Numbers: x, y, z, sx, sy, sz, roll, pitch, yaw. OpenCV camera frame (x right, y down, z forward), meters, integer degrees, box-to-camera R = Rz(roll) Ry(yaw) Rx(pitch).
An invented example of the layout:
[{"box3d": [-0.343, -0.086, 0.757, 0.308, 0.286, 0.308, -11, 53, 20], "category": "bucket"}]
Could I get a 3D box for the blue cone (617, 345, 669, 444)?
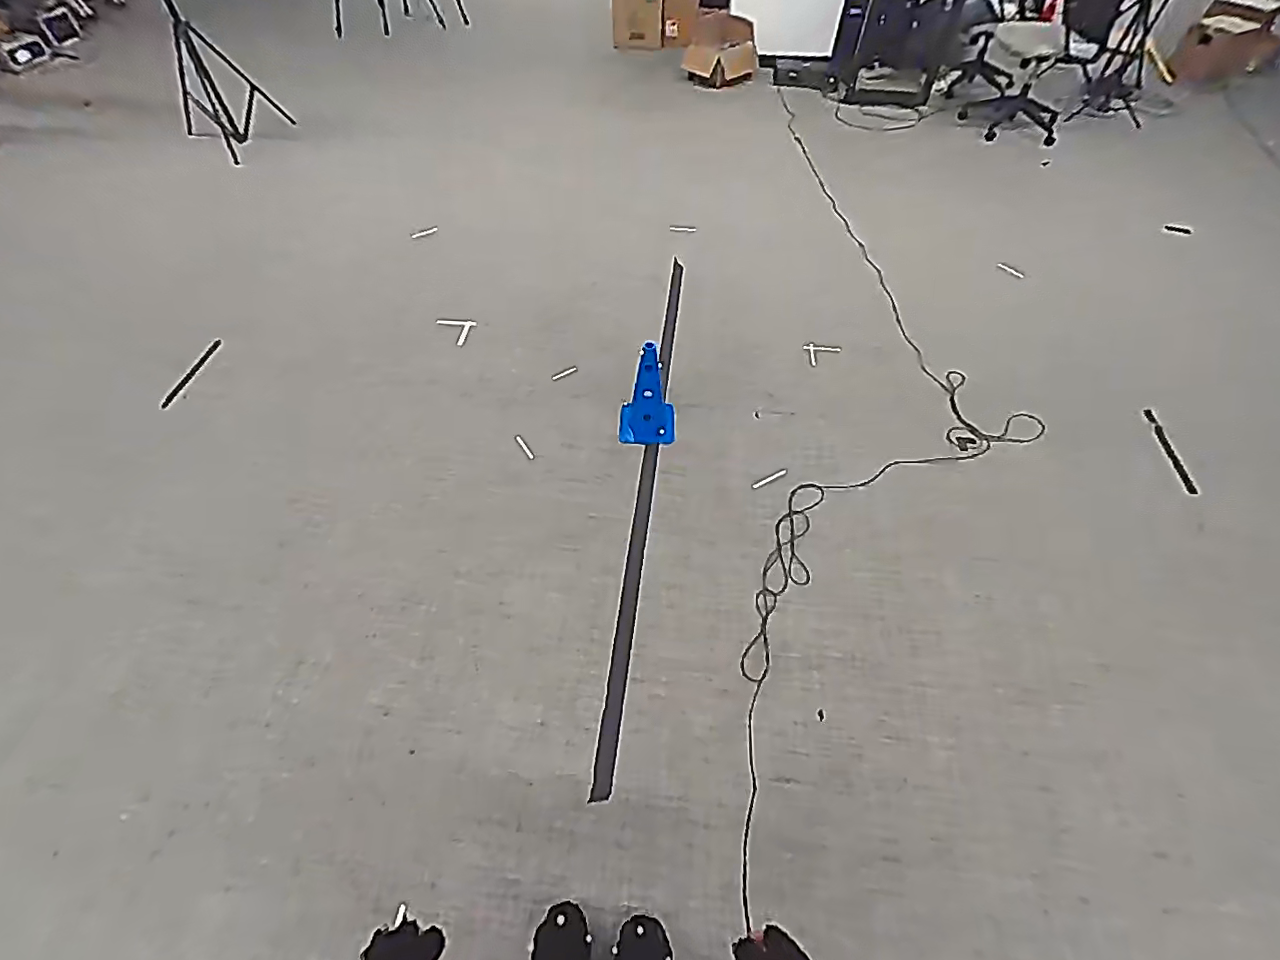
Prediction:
[{"box3d": [0.012, -0.305, 1.863, 0.192, 0.380, 0.193, 3, 52, 2], "category": "blue cone"}]
